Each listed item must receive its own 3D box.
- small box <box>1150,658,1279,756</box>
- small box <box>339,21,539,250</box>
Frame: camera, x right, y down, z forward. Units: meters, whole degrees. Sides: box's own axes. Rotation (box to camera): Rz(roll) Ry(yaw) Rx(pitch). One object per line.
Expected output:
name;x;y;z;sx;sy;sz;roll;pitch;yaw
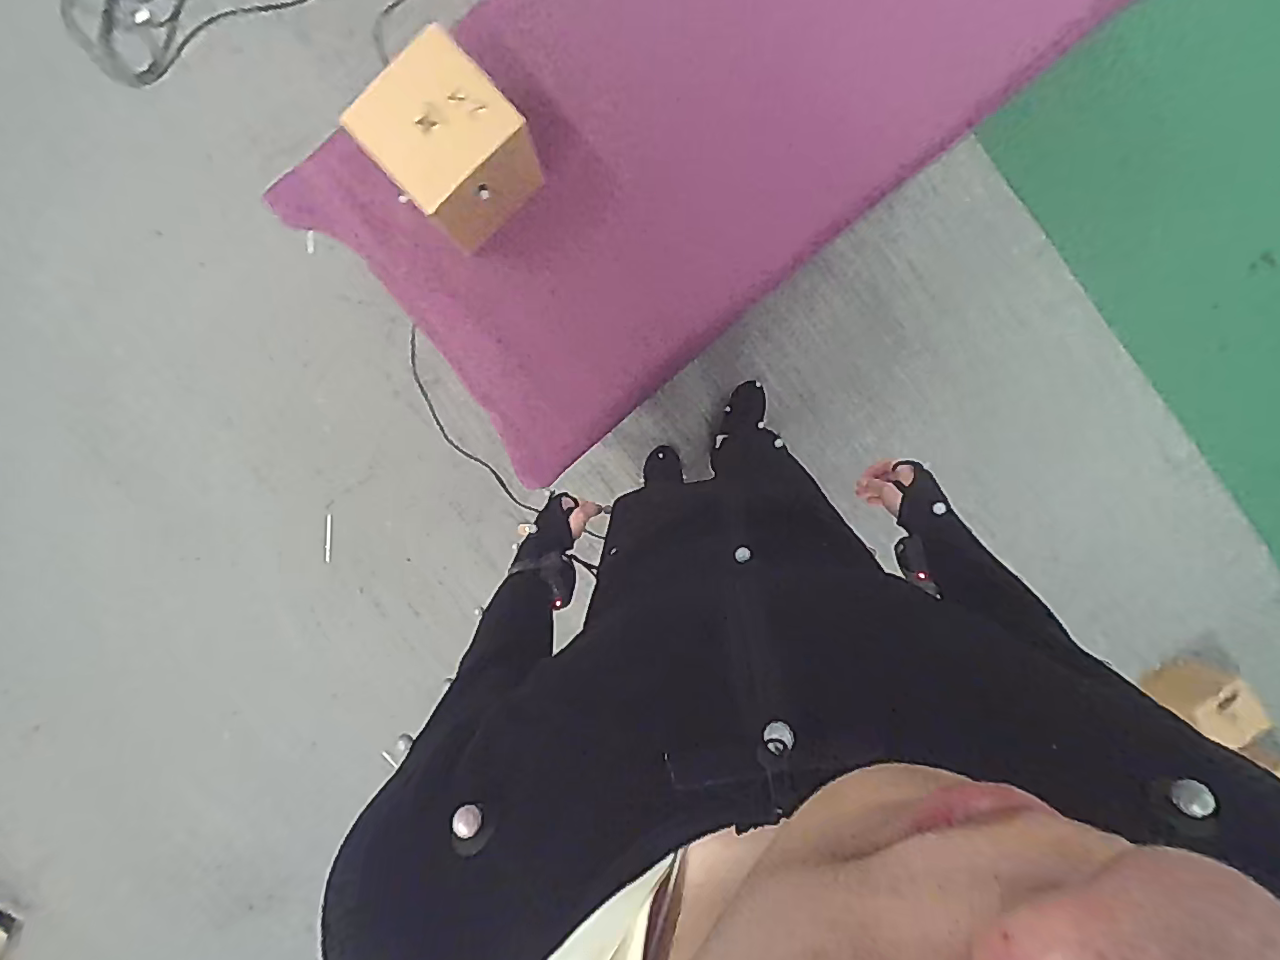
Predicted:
small box;1.651;0.643;1.563;0.168;0.176;0.179;-37;94;3
small box;-0.266;-0.462;0.762;0.179;0.176;0.168;-43;94;4
